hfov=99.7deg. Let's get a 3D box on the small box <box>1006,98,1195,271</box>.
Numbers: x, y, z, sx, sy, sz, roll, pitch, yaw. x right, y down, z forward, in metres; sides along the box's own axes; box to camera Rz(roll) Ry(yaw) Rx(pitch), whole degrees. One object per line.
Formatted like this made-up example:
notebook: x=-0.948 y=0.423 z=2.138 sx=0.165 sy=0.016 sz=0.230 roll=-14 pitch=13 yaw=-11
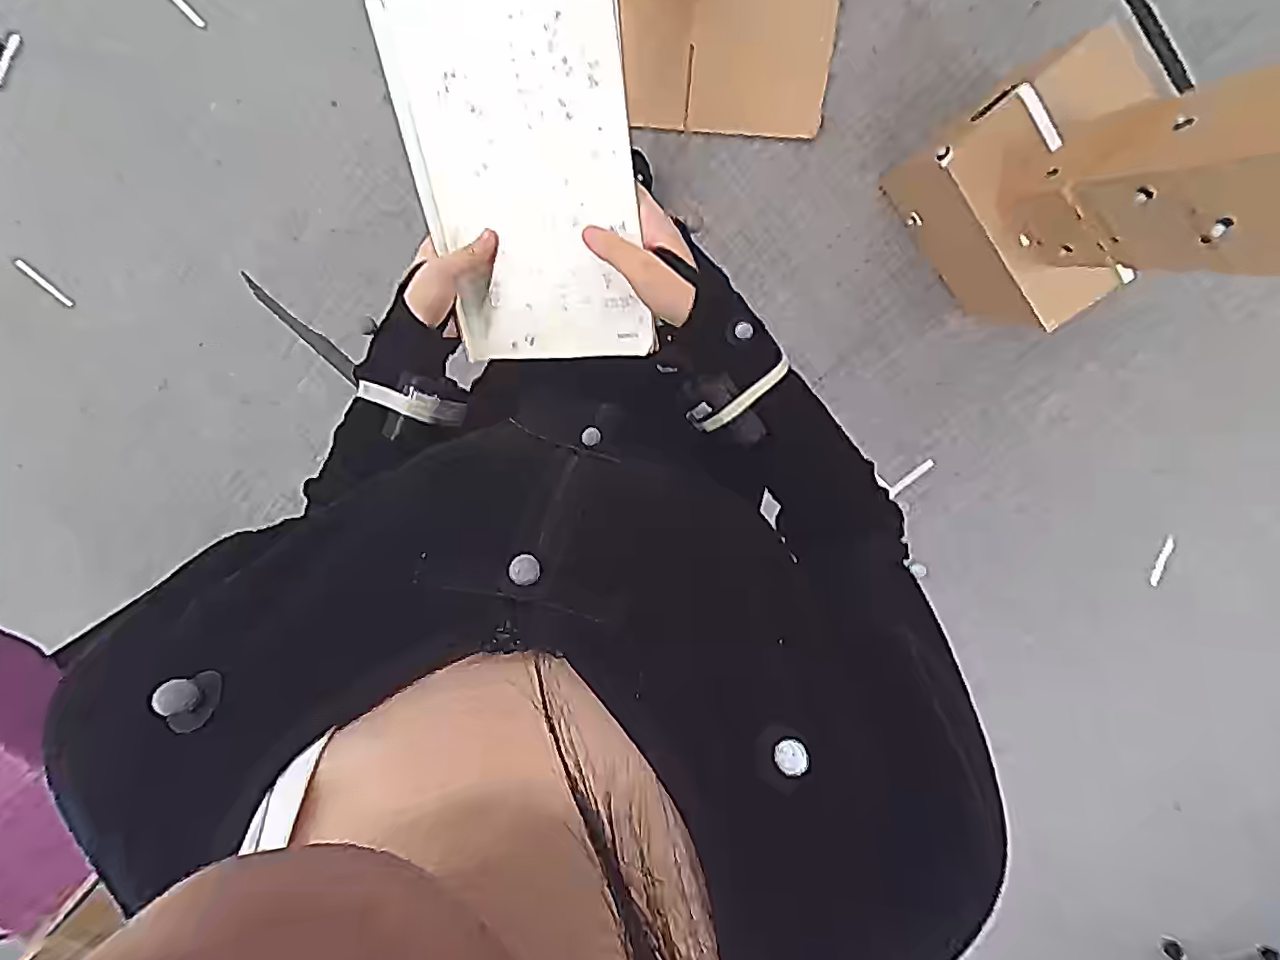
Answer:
small box: x=0.752 y=-0.470 z=0.892 sx=0.168 sy=0.176 sz=0.179 roll=41 pitch=107 yaw=-14
